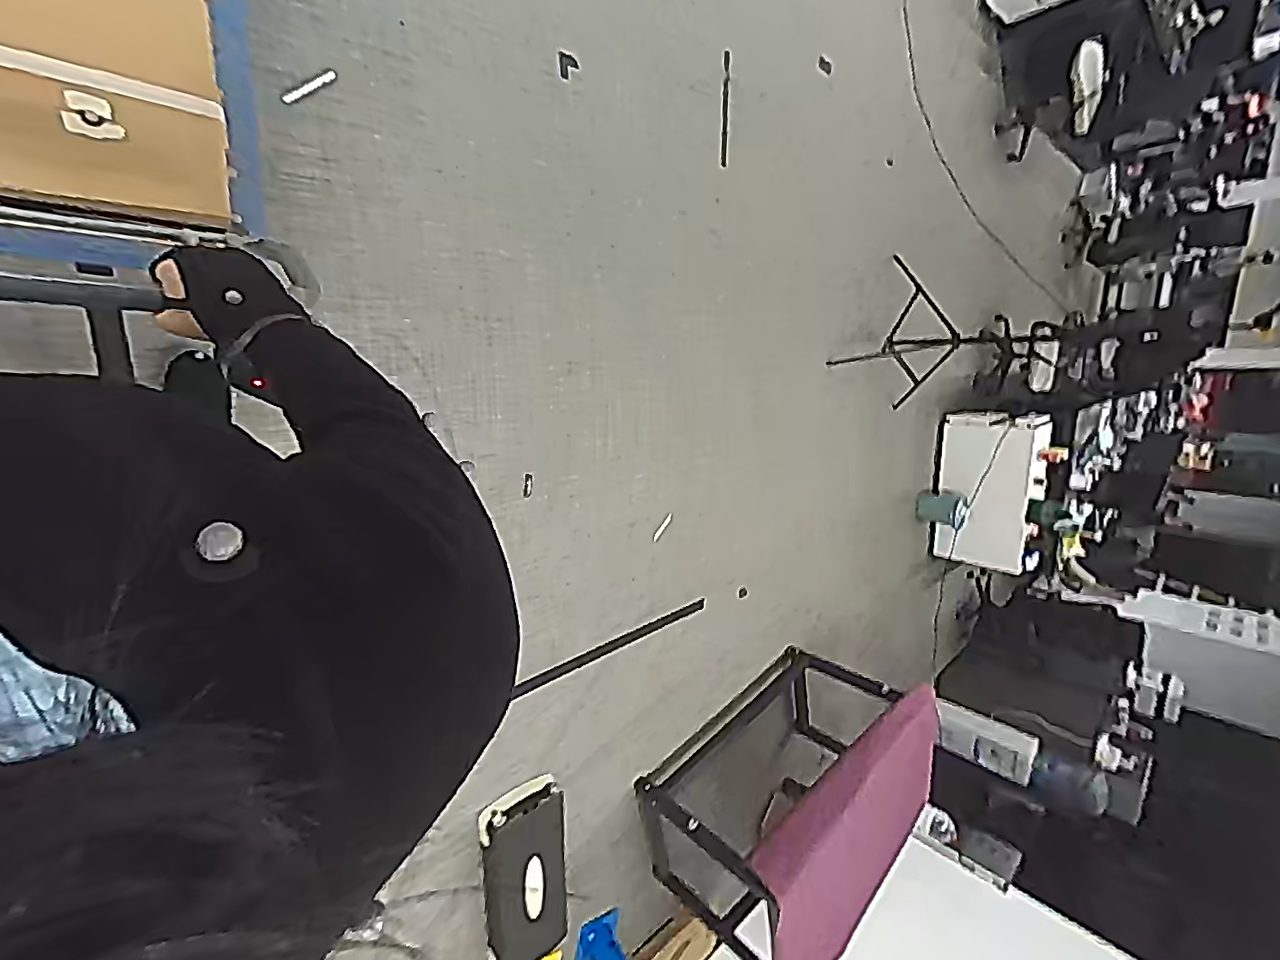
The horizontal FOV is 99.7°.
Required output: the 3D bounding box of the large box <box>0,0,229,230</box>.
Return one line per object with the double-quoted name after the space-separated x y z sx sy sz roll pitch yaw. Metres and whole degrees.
-0.858 -0.549 0.749 0.408 0.320 0.320 -10 114 -42 "large box"
